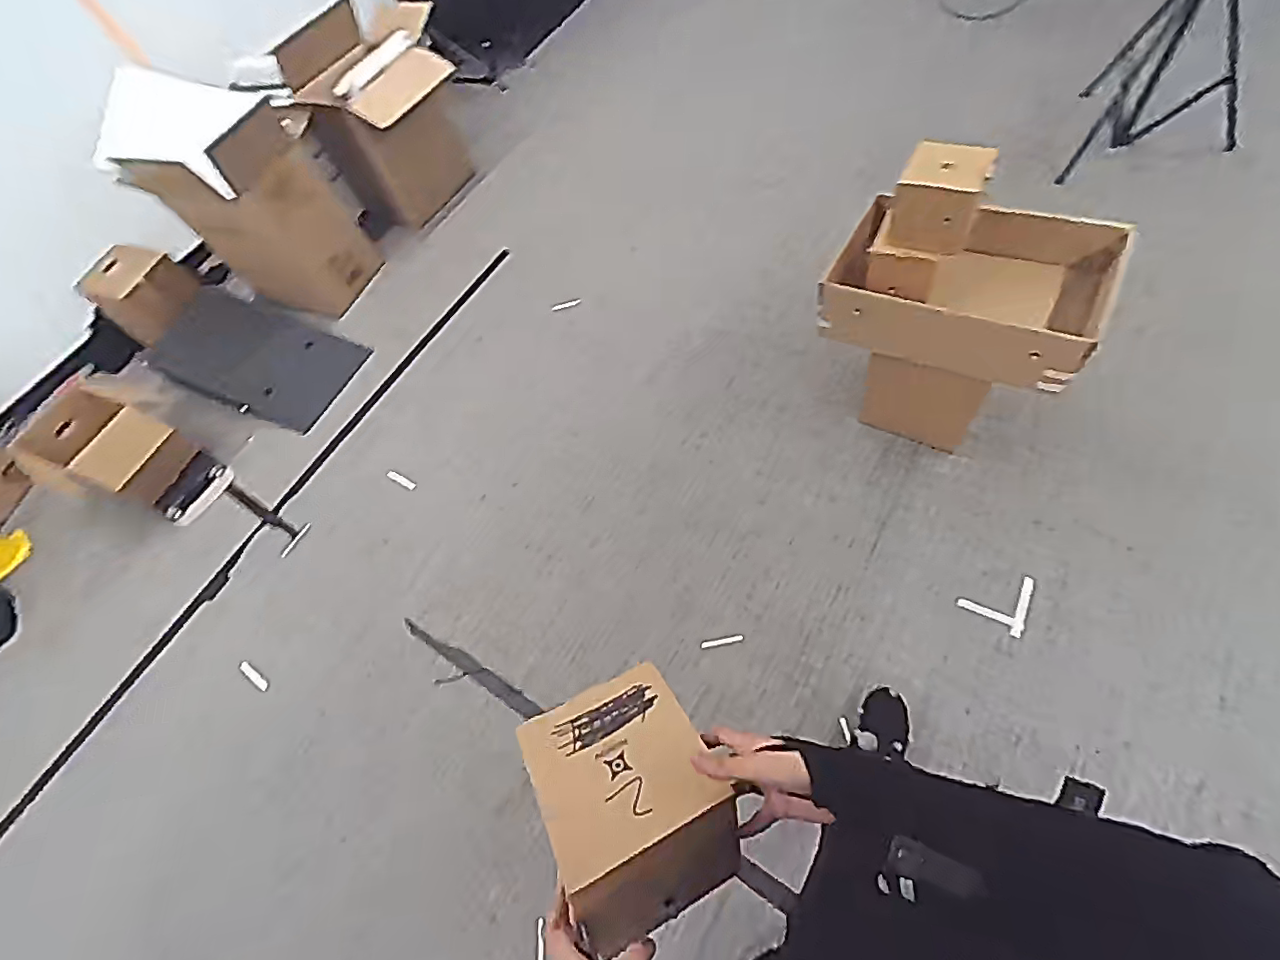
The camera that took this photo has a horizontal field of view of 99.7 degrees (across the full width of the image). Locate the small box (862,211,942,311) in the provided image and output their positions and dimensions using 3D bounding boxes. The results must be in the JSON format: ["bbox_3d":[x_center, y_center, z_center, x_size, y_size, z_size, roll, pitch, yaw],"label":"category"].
[{"bbox_3d":[0.706,-0.584,1.446,0.168,0.176,0.179,18,67,24],"label":"small box"}]

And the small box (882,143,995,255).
[{"bbox_3d":[0.709,-0.671,1.302,0.179,0.176,0.168,23,68,25],"label":"small box"}]
